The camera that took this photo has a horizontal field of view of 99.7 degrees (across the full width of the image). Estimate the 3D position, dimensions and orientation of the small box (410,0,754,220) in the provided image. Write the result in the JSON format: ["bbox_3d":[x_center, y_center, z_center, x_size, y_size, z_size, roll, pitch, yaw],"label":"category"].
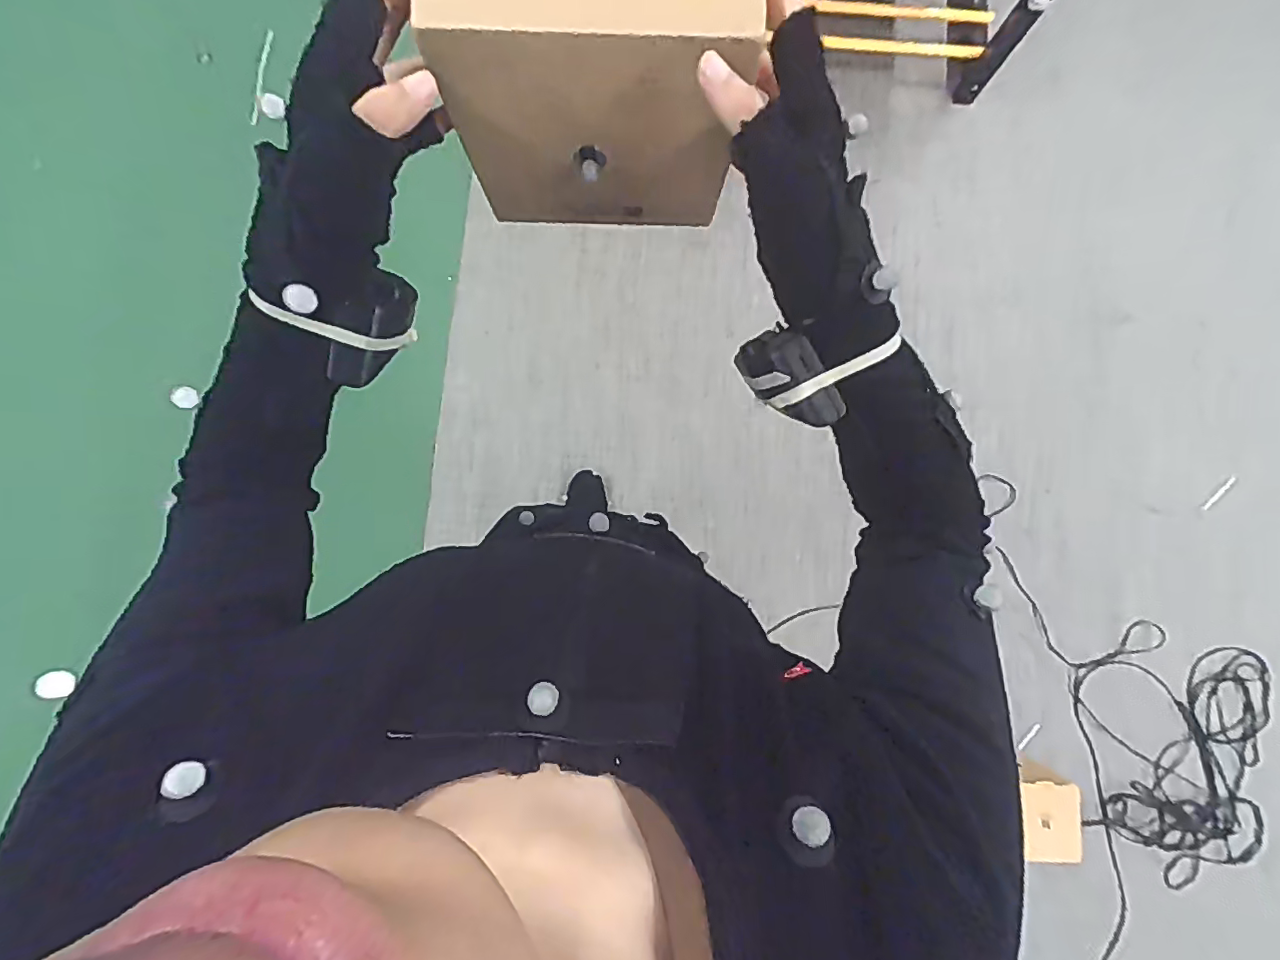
[{"bbox_3d":[-0.026,-0.288,0.339,0.168,0.176,0.179,1,86,-2],"label":"small box"}]

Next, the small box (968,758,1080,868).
[{"bbox_3d":[0.947,0.822,1.345,0.168,0.176,0.179,3,83,-1],"label":"small box"}]
